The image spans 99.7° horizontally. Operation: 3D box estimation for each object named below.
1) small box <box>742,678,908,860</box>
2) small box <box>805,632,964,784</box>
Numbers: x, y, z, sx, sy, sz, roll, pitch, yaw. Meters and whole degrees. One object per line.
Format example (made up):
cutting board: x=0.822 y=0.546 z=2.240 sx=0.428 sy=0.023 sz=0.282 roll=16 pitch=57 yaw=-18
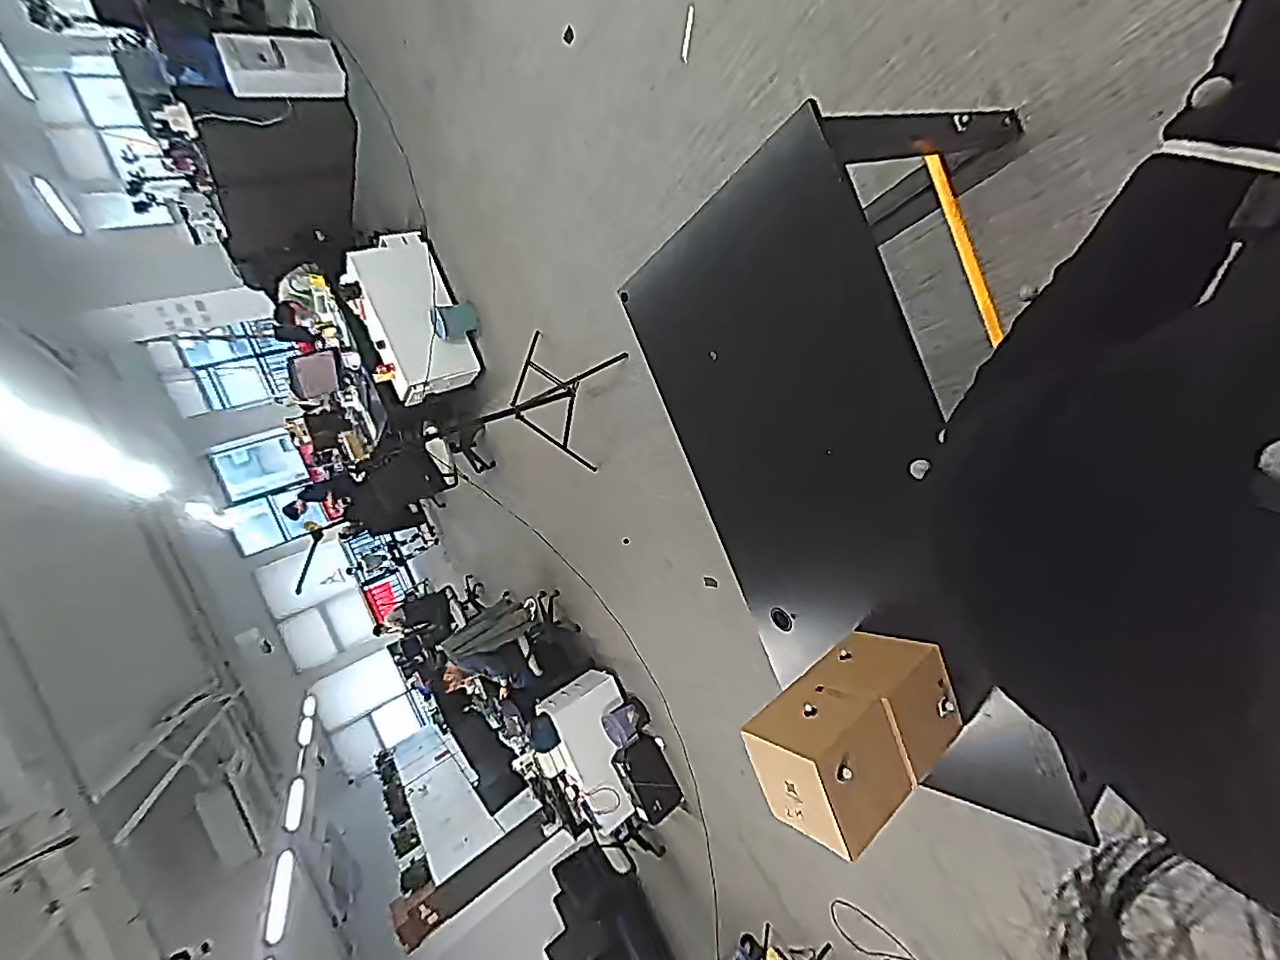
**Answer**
small box: x=0.306 y=0.458 z=0.894 sx=0.168 sy=0.176 sz=0.179 roll=-11 pitch=103 yaw=60
small box: x=0.437 y=0.393 z=0.971 sx=0.179 sy=0.176 sz=0.168 roll=-11 pitch=102 yaw=58
